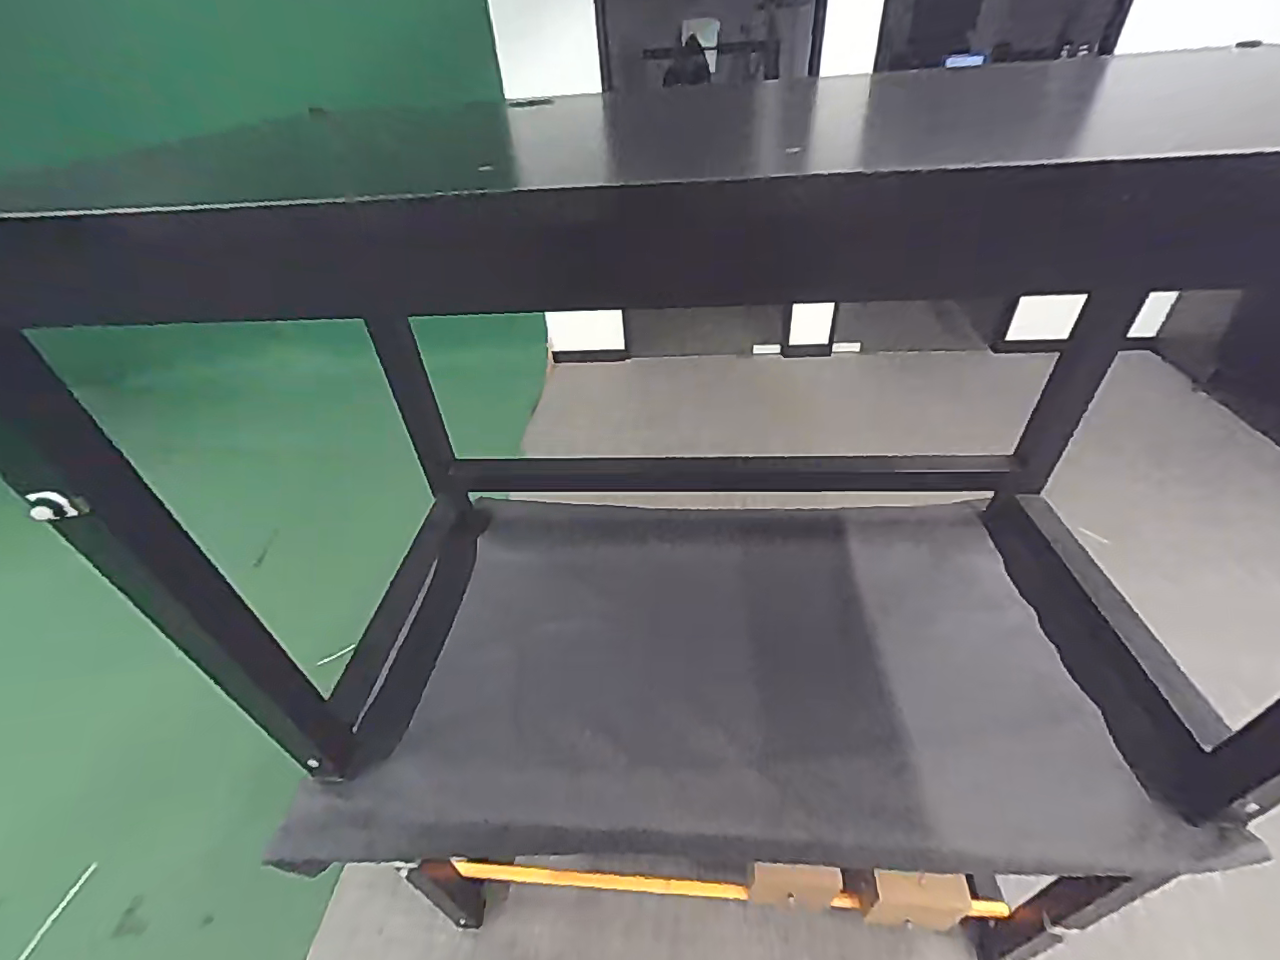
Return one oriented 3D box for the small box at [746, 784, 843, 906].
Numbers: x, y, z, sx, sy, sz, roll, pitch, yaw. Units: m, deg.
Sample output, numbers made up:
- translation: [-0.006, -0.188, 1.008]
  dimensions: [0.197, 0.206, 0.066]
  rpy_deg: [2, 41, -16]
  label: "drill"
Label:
- translation: [0.313, 0.763, 1.128]
  dimensions: [0.168, 0.176, 0.179]
  rpy_deg: [-1, 40, 6]
  label: "small box"
